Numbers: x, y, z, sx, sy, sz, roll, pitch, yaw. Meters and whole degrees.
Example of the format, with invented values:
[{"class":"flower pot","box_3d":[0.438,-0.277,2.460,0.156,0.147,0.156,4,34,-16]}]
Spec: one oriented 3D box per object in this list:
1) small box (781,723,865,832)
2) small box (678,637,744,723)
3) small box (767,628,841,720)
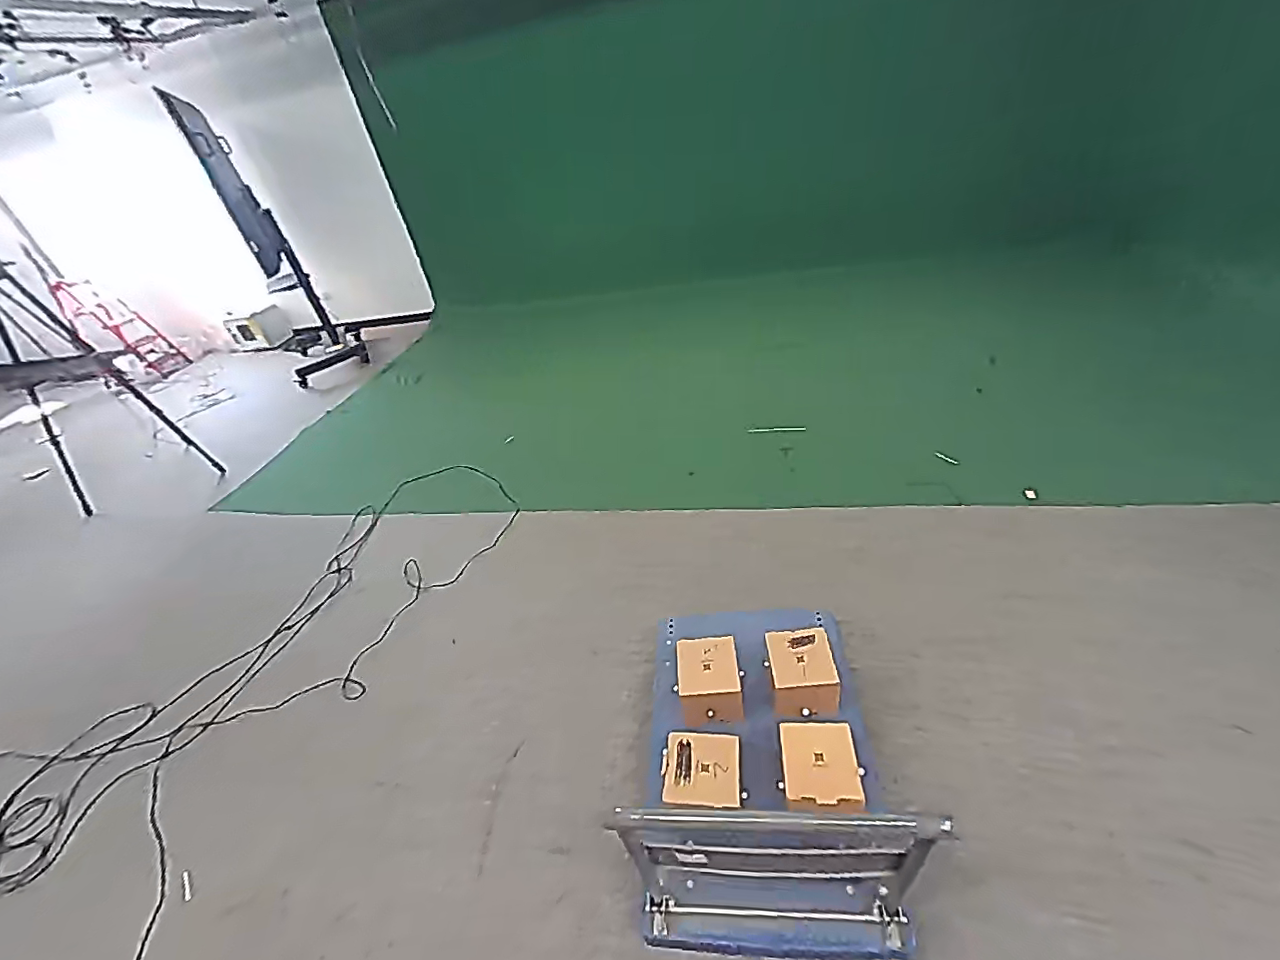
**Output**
[{"class":"small box","box_3d":[0.428,0.708,1.293,0.168,0.176,0.179,-4,38,10]},{"class":"small box","box_3d":[0.200,0.571,1.532,0.168,0.176,0.179,-6,37,7]},{"class":"small box","box_3d":[0.449,0.539,1.503,0.168,0.176,0.179,-8,38,7]}]
